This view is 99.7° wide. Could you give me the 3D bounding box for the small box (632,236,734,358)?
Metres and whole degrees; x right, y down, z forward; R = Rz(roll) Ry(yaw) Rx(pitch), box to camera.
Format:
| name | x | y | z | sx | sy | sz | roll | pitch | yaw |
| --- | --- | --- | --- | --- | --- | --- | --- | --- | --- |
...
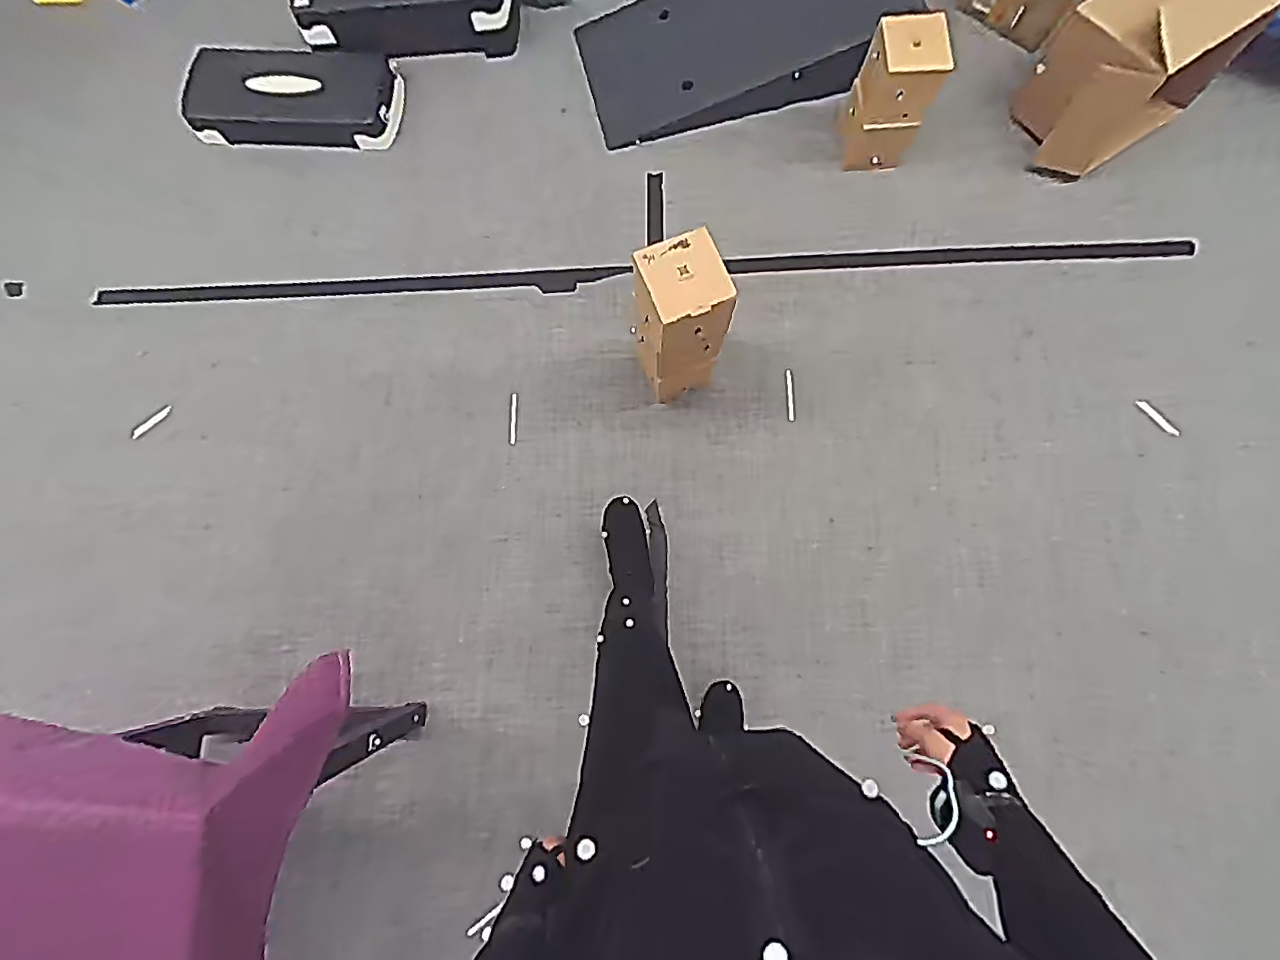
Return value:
| name | x | y | z | sx | sy | sz | roll | pitch | yaw |
| --- | --- | --- | --- | --- | --- | --- | --- | --- | --- |
| small box | 0.090 | -0.389 | 1.187 | 0.168 | 0.176 | 0.179 | -21 | 79 | -3 |
